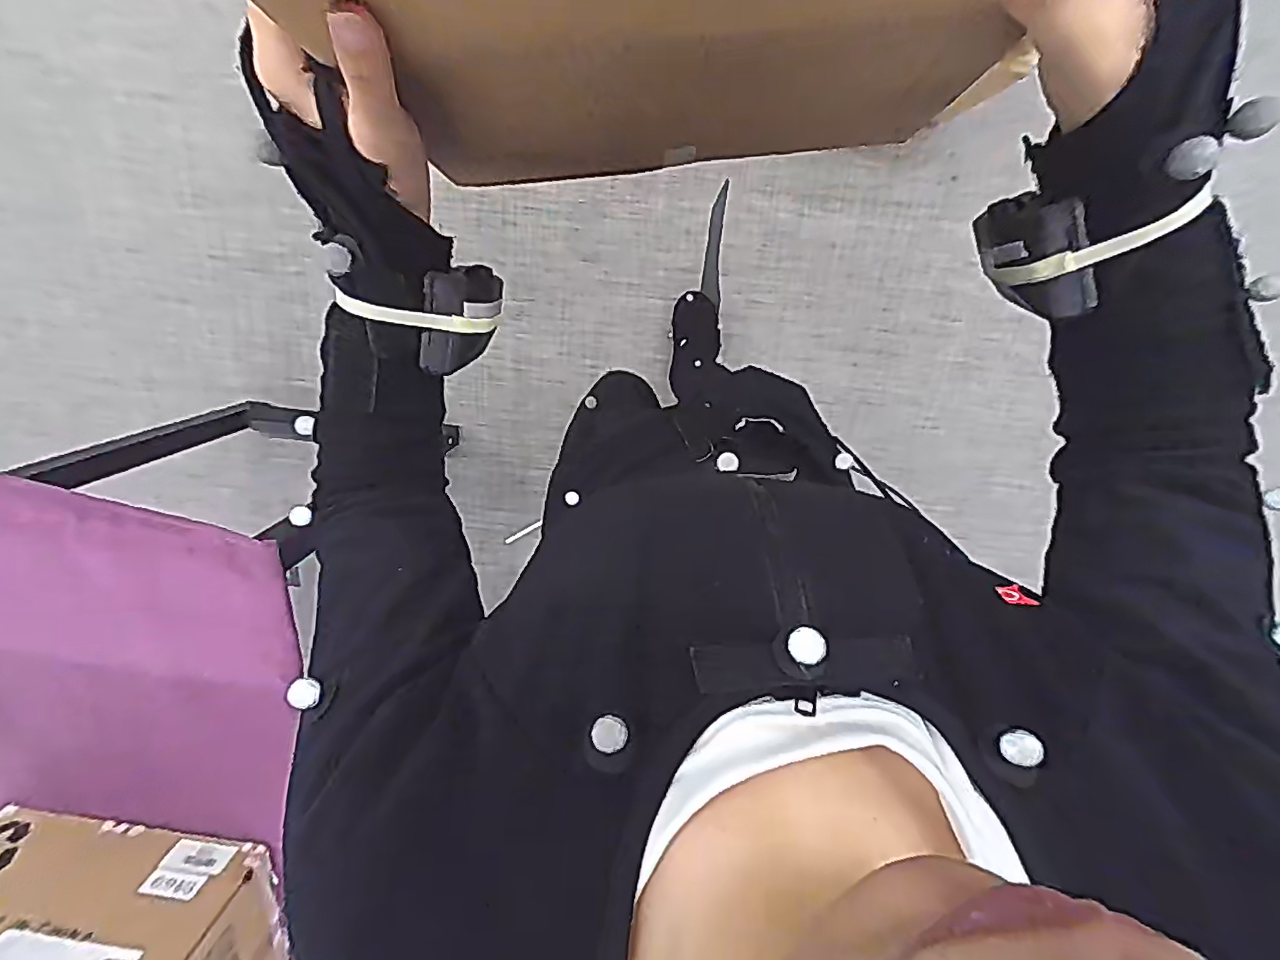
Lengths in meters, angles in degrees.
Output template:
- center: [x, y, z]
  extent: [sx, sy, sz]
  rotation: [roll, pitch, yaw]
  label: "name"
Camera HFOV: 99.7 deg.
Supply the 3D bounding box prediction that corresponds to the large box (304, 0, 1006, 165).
- center: [0.000, -0.390, 0.180]
  extent: [0.320, 0.320, 0.408]
  rotation: [-5, 102, 4]
  label: "large box"
